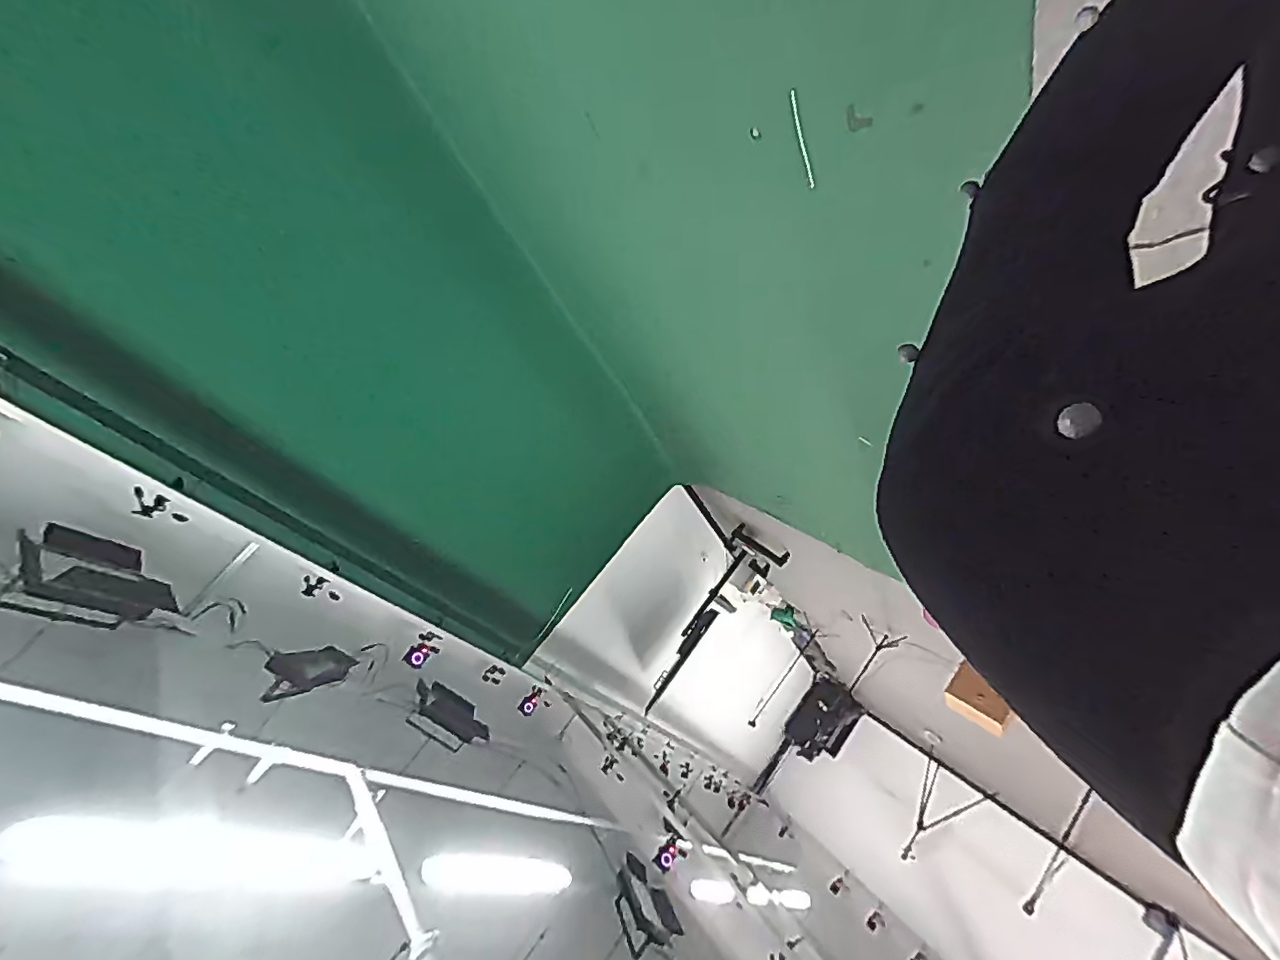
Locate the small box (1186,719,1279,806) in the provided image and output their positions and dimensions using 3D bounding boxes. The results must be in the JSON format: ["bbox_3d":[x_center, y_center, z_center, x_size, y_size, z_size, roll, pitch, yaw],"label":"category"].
[{"bbox_3d":[1.612,0.758,1.426,0.179,0.176,0.168,30,166,44],"label":"small box"}]

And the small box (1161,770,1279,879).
[{"bbox_3d":[1.508,0.878,1.393,0.179,0.176,0.168,29,164,44],"label":"small box"}]

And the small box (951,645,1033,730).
[{"bbox_3d":[1.148,0.672,1.761,0.179,0.176,0.168,29,164,44],"label":"small box"}]
